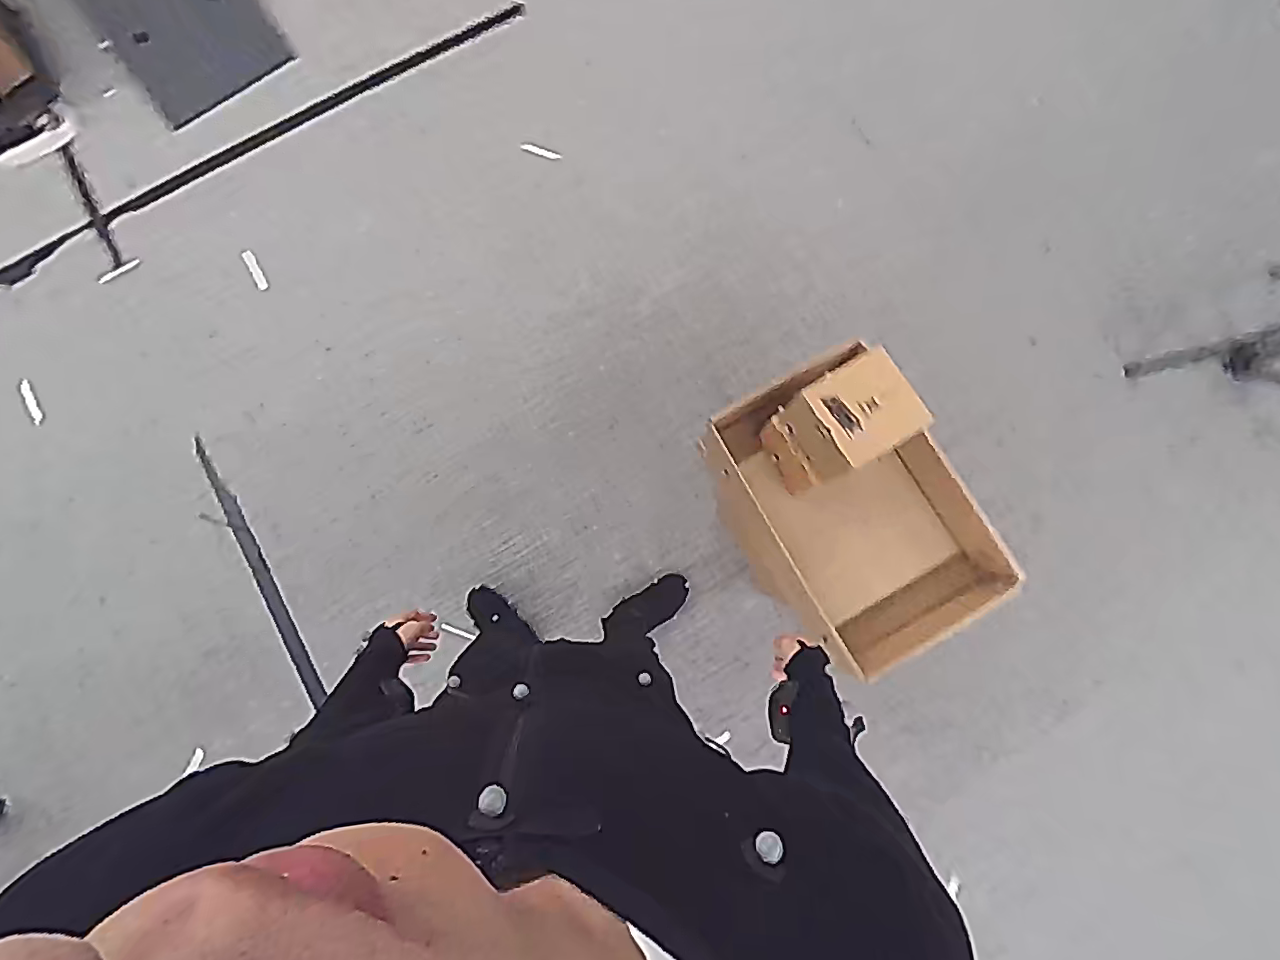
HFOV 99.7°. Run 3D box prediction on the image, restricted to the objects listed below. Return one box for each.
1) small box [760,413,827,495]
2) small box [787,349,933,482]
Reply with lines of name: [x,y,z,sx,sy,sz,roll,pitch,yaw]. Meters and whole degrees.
small box: [0.388,-0.083,1.185,0.179,0.176,0.168,-31,82,-4]
small box: [0.399,-0.111,1.023,0.179,0.176,0.168,-30,83,-4]
